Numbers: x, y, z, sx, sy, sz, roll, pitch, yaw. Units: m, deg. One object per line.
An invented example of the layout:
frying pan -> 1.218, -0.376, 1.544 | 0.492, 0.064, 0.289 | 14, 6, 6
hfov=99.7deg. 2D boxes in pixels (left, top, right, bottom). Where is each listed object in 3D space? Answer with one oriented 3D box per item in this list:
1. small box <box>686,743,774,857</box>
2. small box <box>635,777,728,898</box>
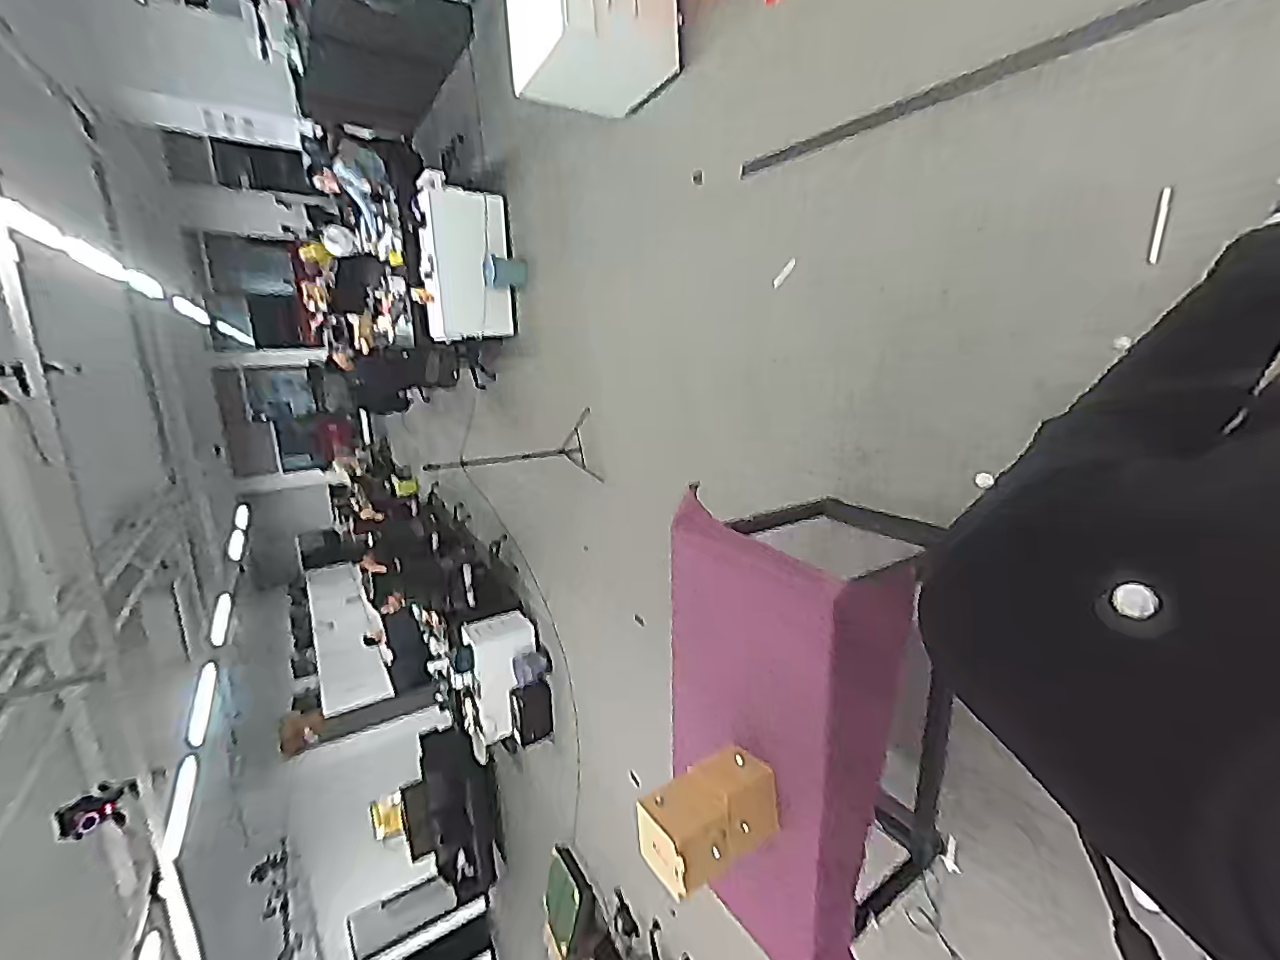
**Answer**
small box -> 0.247, 0.857, 1.466 | 0.168, 0.176, 0.179 | 2, 99, 58
small box -> 0.106, 0.901, 1.390 | 0.179, 0.176, 0.168 | 11, 109, 57
